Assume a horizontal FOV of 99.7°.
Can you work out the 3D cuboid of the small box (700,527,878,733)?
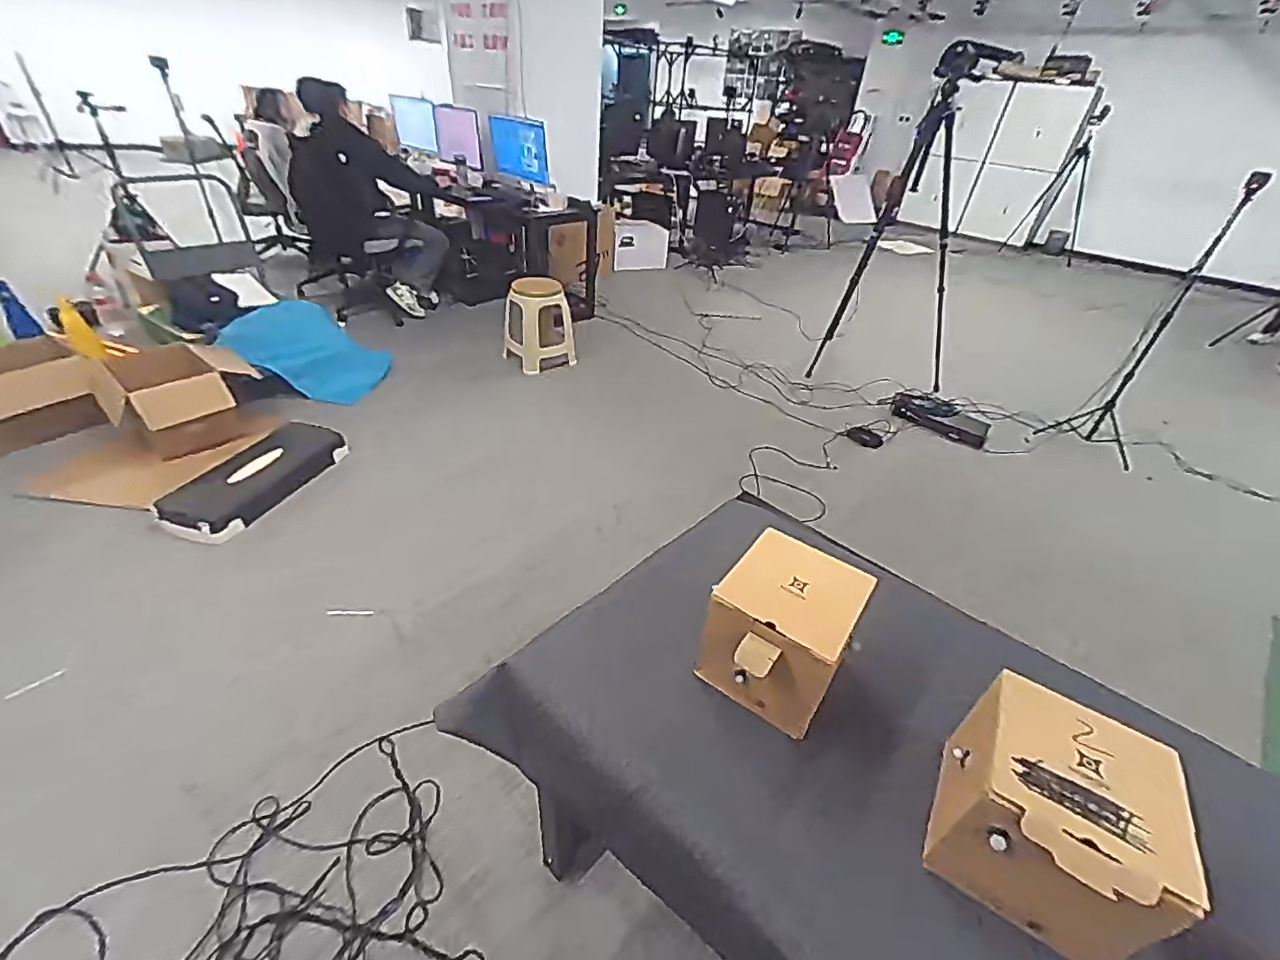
[{"bbox_3d":[0.198,0.202,0.749,0.168,0.176,0.179,26,41,26],"label":"small box"}]
